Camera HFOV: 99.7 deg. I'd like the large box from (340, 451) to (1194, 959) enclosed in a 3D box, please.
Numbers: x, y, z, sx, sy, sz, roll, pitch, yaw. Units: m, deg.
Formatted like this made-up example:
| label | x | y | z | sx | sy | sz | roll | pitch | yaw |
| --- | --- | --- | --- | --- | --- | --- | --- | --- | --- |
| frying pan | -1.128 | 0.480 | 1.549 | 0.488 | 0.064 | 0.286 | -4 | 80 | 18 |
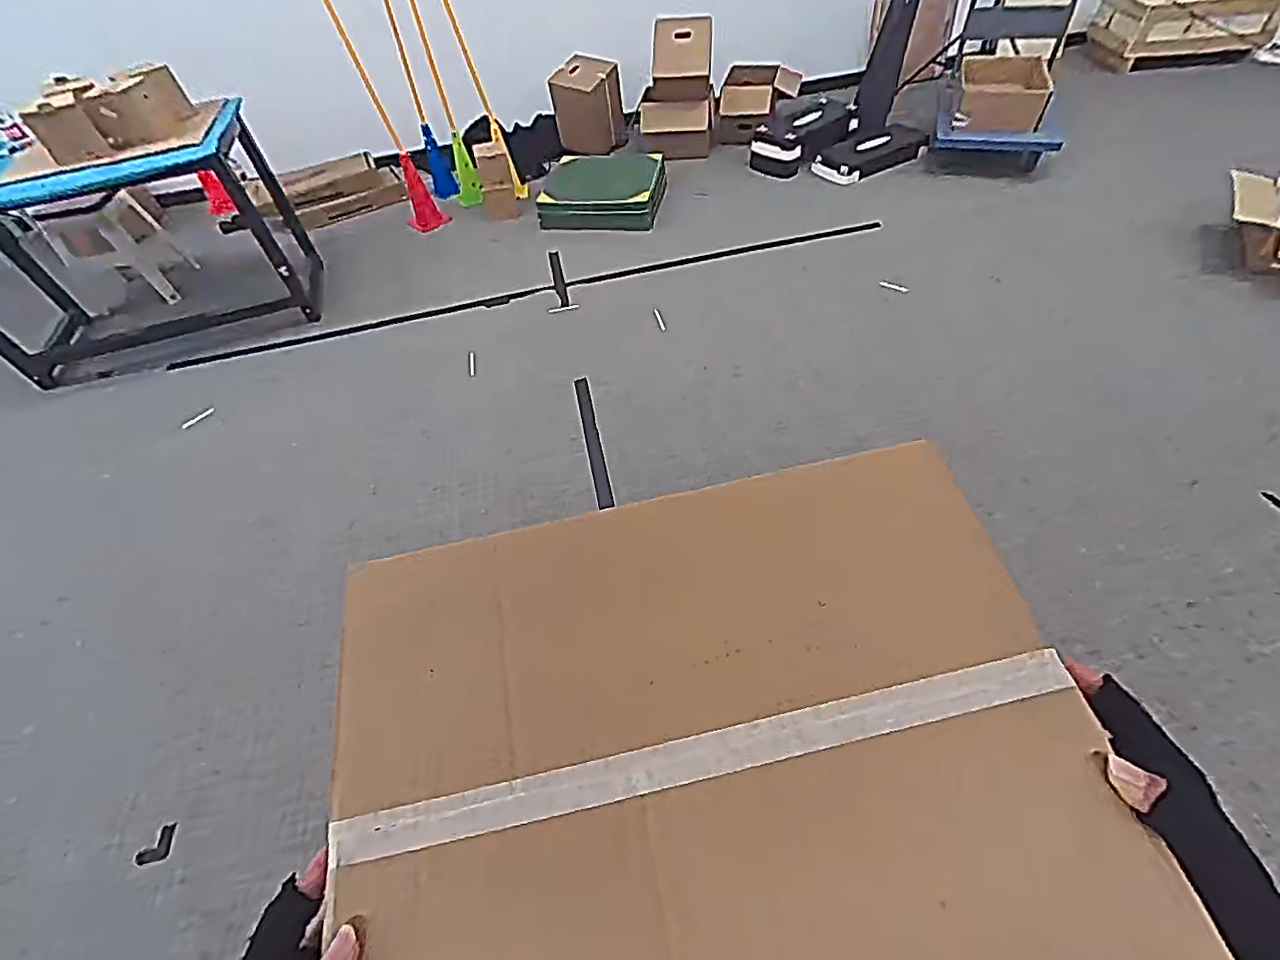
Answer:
| label | x | y | z | sx | sy | sz | roll | pitch | yaw |
| --- | --- | --- | --- | --- | --- | --- | --- | --- | --- |
| large box | 0.046 | 0.222 | 0.433 | 0.408 | 0.320 | 0.320 | -13 | 61 | -2 |
